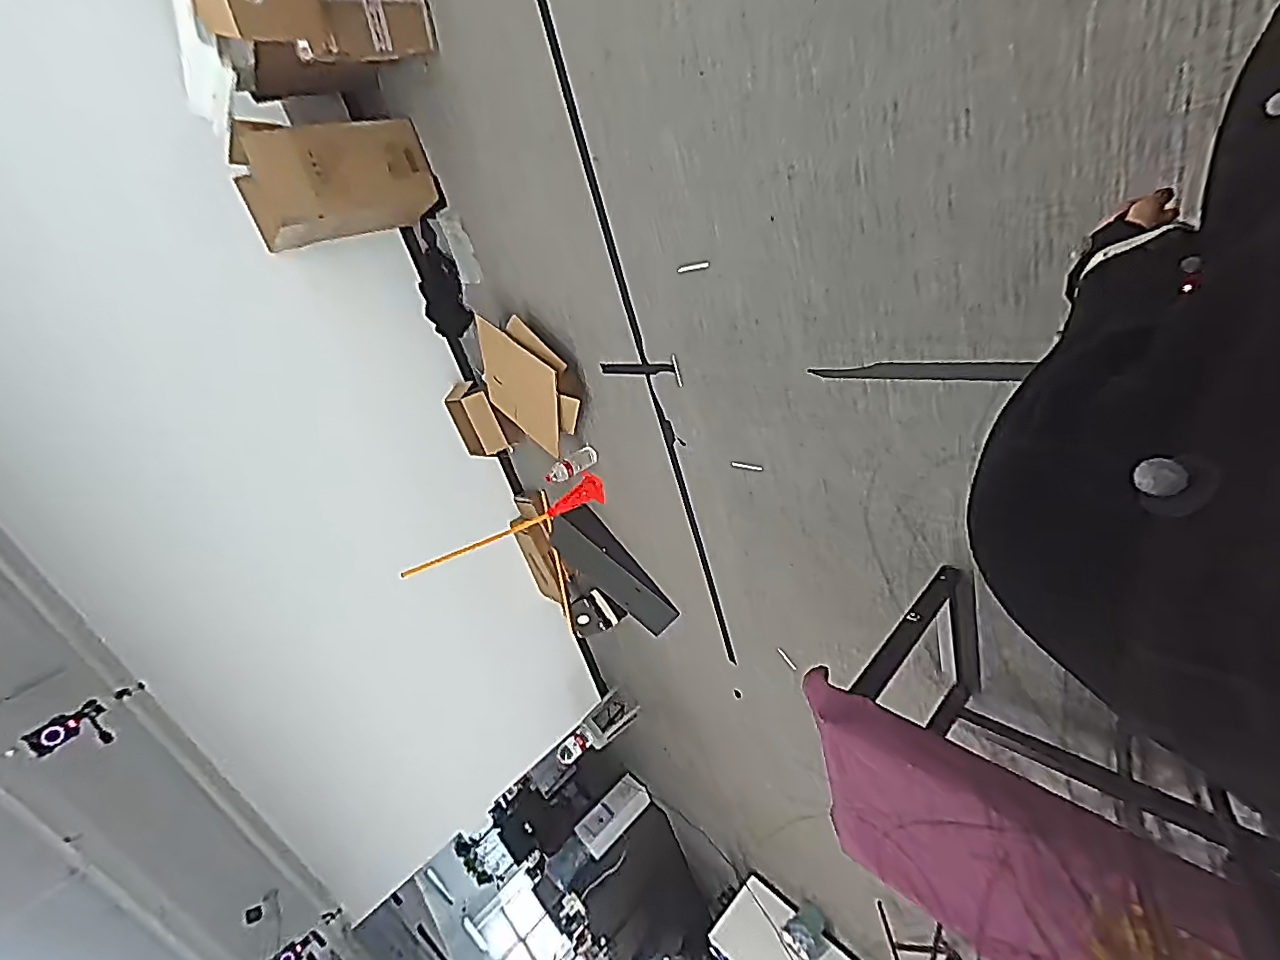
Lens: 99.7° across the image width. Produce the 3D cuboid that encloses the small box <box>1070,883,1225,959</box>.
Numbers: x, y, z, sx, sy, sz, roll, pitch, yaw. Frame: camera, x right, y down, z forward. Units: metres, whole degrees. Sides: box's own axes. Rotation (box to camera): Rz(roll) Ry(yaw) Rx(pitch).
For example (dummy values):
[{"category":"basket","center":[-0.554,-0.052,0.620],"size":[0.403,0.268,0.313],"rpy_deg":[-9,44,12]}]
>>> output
[{"category":"small box","center":[0.848,0.846,0.910],"size":[0.168,0.176,0.179],"rpy_deg":[12,129,50]}]
